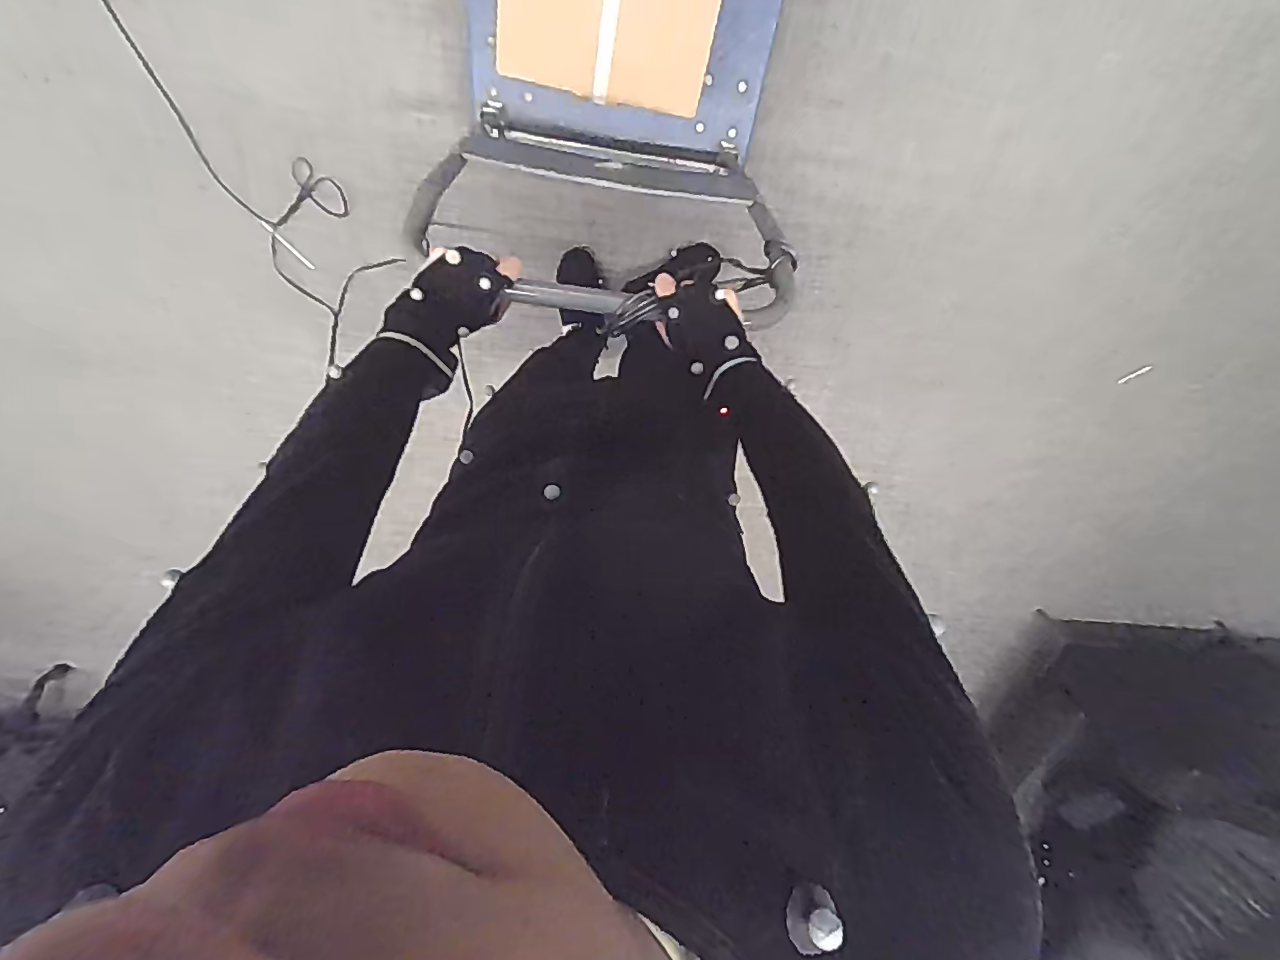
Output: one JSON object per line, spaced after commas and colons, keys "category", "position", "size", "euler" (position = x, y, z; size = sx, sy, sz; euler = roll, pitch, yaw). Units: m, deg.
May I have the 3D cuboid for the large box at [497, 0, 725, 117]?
{"category": "large box", "position": [-0.025, -0.830, 0.816], "size": [0.320, 0.320, 0.408], "euler": [8, 129, -10]}
